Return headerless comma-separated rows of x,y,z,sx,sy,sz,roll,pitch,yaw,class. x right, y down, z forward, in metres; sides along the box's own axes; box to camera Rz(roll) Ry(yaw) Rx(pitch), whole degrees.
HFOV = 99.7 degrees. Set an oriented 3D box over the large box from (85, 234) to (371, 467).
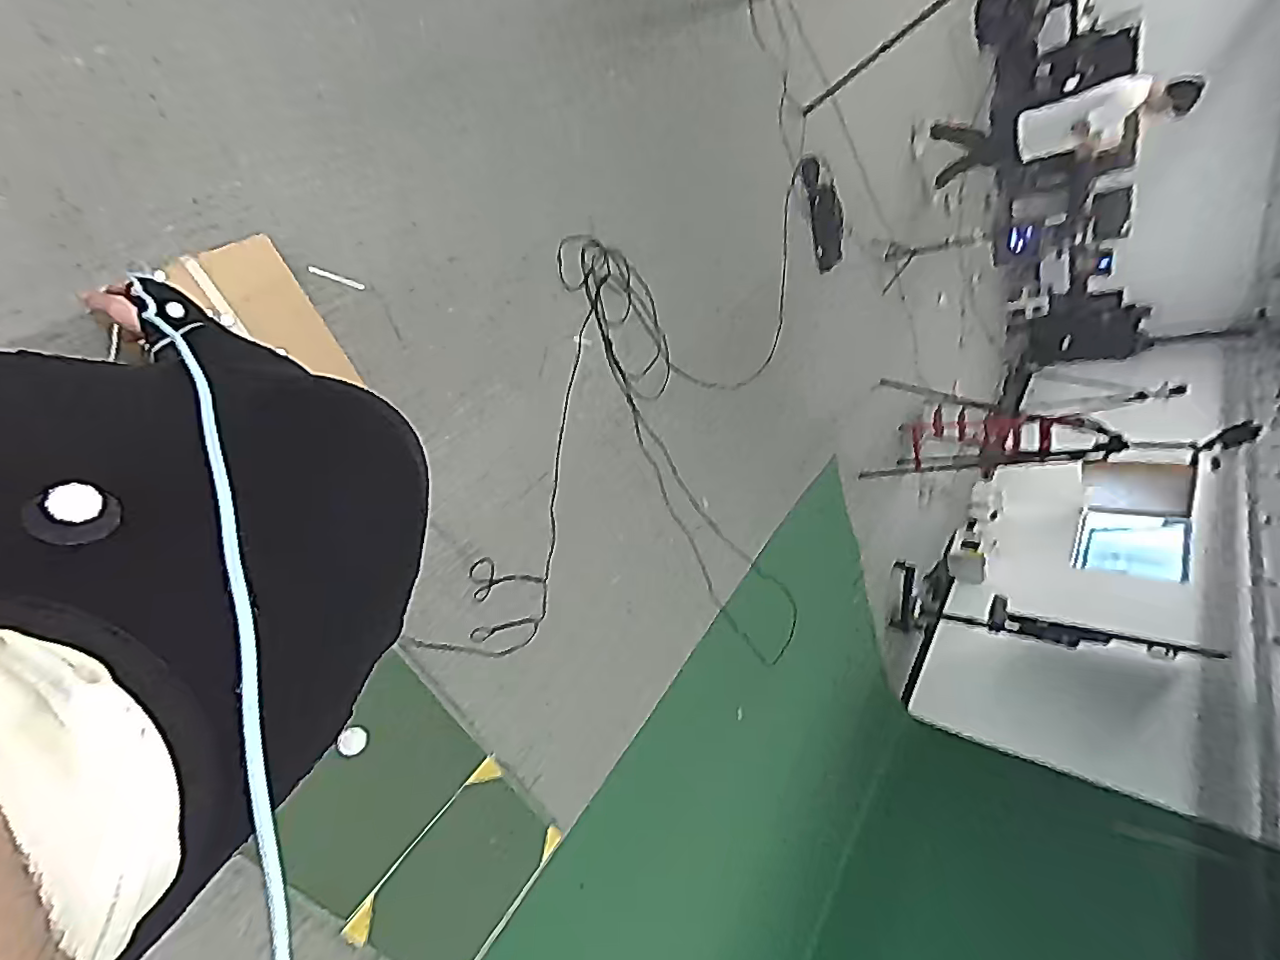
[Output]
-0.923,-0.283,1.238,0.320,0.320,0.408,-46,126,-34,large box
